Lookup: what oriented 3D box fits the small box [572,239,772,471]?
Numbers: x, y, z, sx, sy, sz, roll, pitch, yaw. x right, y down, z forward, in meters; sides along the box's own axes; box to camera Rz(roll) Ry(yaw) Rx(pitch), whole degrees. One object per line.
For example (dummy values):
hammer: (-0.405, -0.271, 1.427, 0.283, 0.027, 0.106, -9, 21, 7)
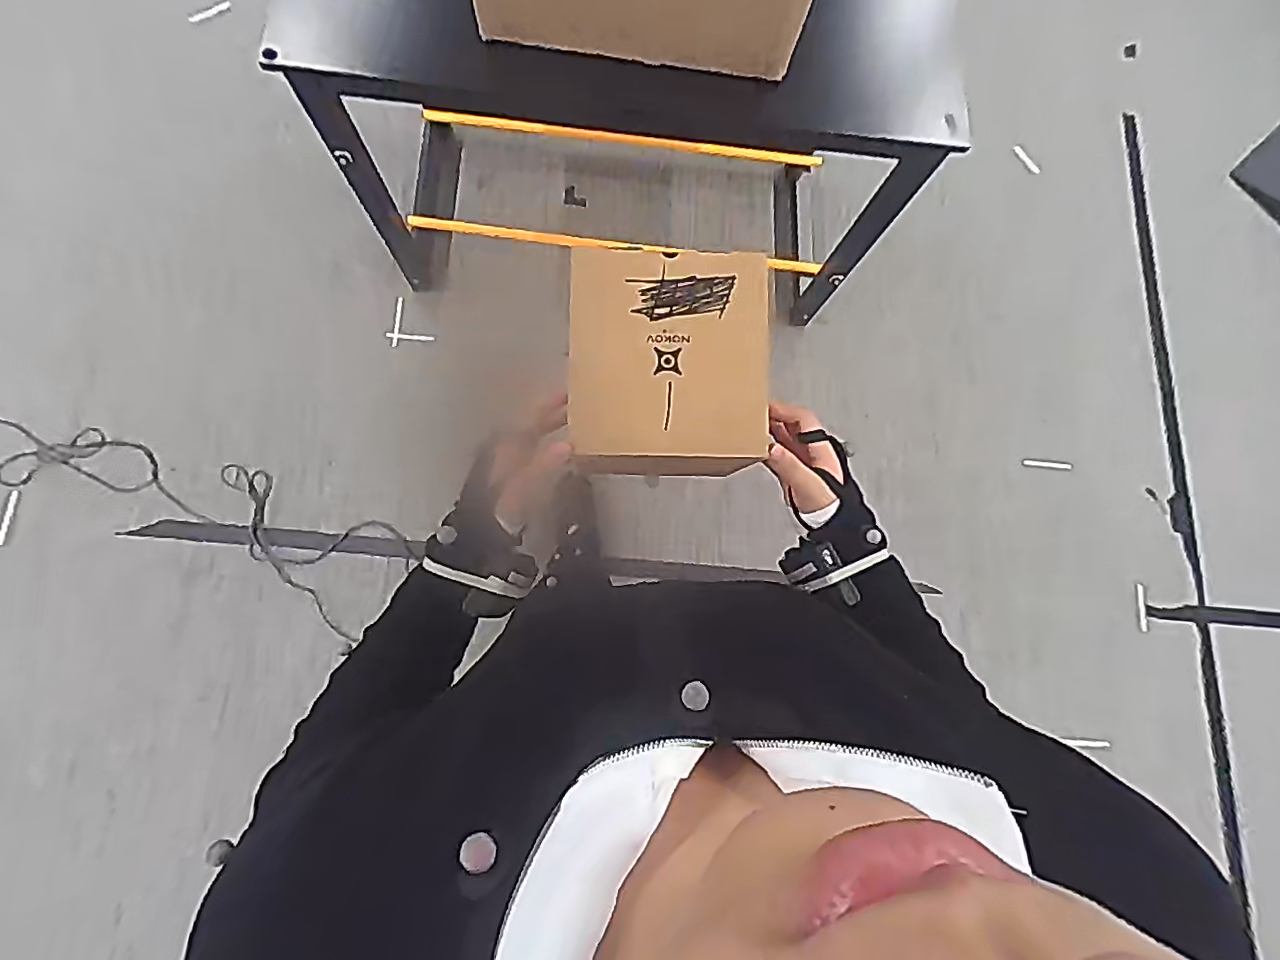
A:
small box: (0.024, -0.106, 0.525, 0.168, 0.176, 0.179, 0, 85, -2)
